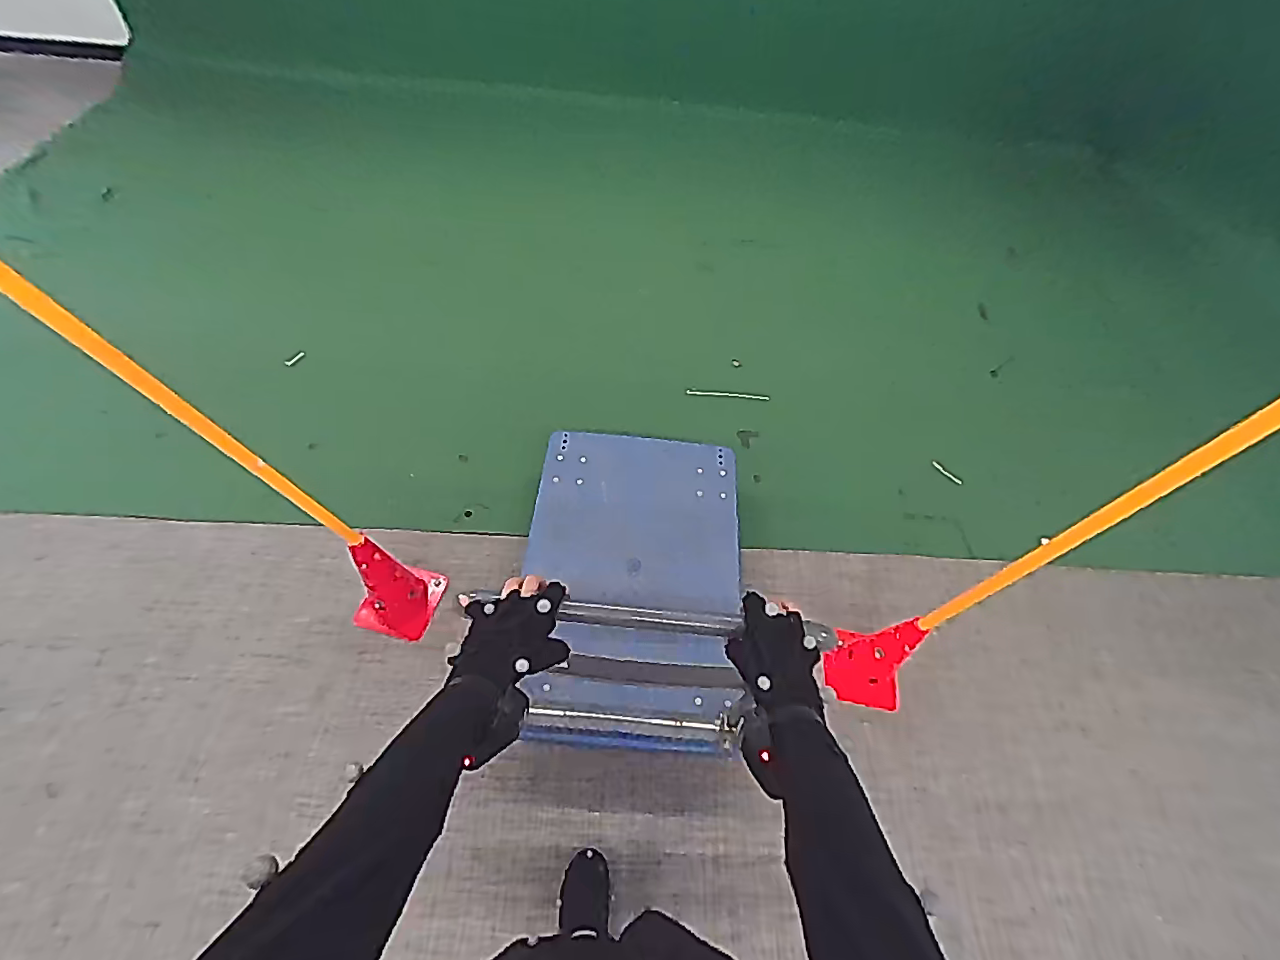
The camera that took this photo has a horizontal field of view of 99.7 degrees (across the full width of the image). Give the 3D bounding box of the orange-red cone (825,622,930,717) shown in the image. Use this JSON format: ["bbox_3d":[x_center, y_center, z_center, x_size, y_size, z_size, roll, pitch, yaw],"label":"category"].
[{"bbox_3d":[0.622,0.438,1.353,0.198,0.360,0.199,12,55,4],"label":"orange-red cone"}]
